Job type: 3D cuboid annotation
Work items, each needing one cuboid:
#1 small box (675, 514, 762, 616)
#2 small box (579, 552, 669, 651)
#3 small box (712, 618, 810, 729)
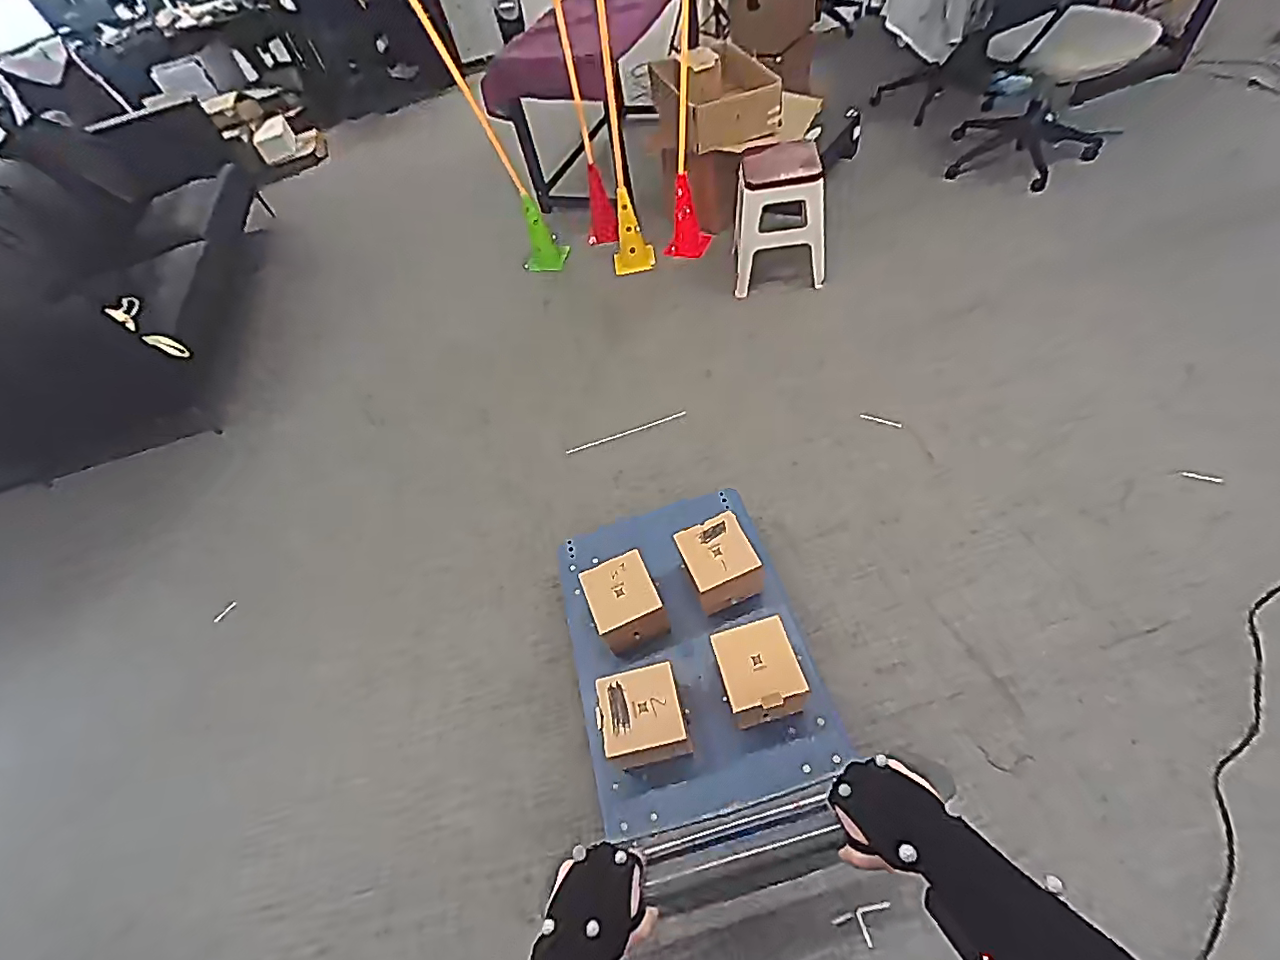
[{"bbox_3d":[0.204,0.224,1.407,0.168,0.176,0.179,-23,55,-4],"label":"small box"},{"bbox_3d":[-0.036,0.321,1.391,0.168,0.176,0.179,-23,54,-5],"label":"small box"},{"bbox_3d":[0.270,0.446,1.239,0.168,0.176,0.179,-17,54,0],"label":"small box"}]
